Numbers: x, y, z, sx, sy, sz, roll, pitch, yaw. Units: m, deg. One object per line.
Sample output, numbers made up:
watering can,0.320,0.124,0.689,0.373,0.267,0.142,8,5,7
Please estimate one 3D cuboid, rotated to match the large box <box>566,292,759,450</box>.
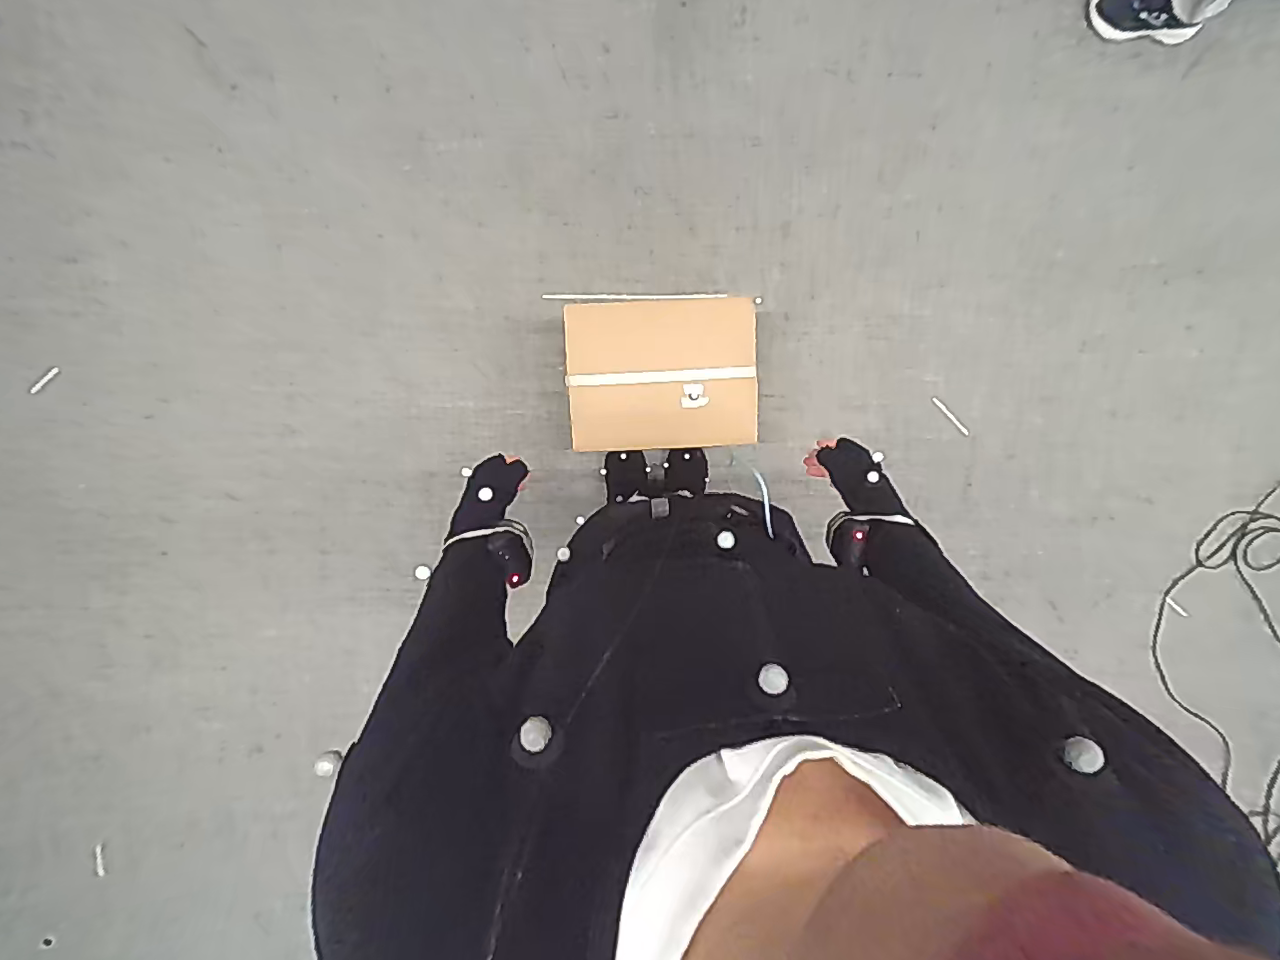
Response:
large box,0.048,-0.250,1.296,0.408,0.320,0.320,-3,99,0
